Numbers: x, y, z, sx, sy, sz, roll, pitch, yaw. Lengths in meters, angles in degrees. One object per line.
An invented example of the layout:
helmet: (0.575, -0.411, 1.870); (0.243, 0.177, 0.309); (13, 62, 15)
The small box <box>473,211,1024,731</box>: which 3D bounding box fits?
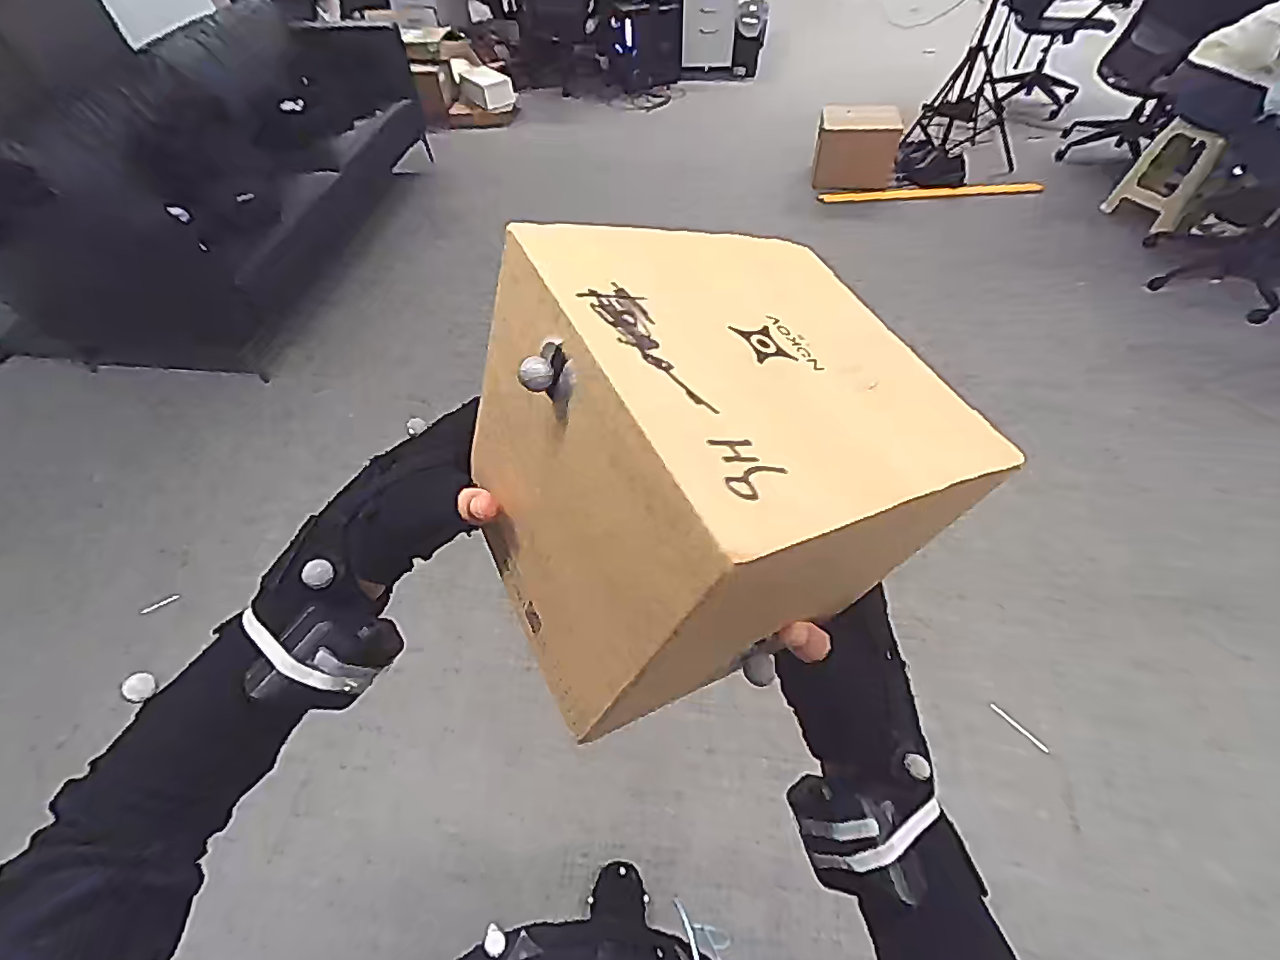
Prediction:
small box: (0.032, -0.004, 0.277); (0.179, 0.176, 0.168); (-11, 56, -34)
